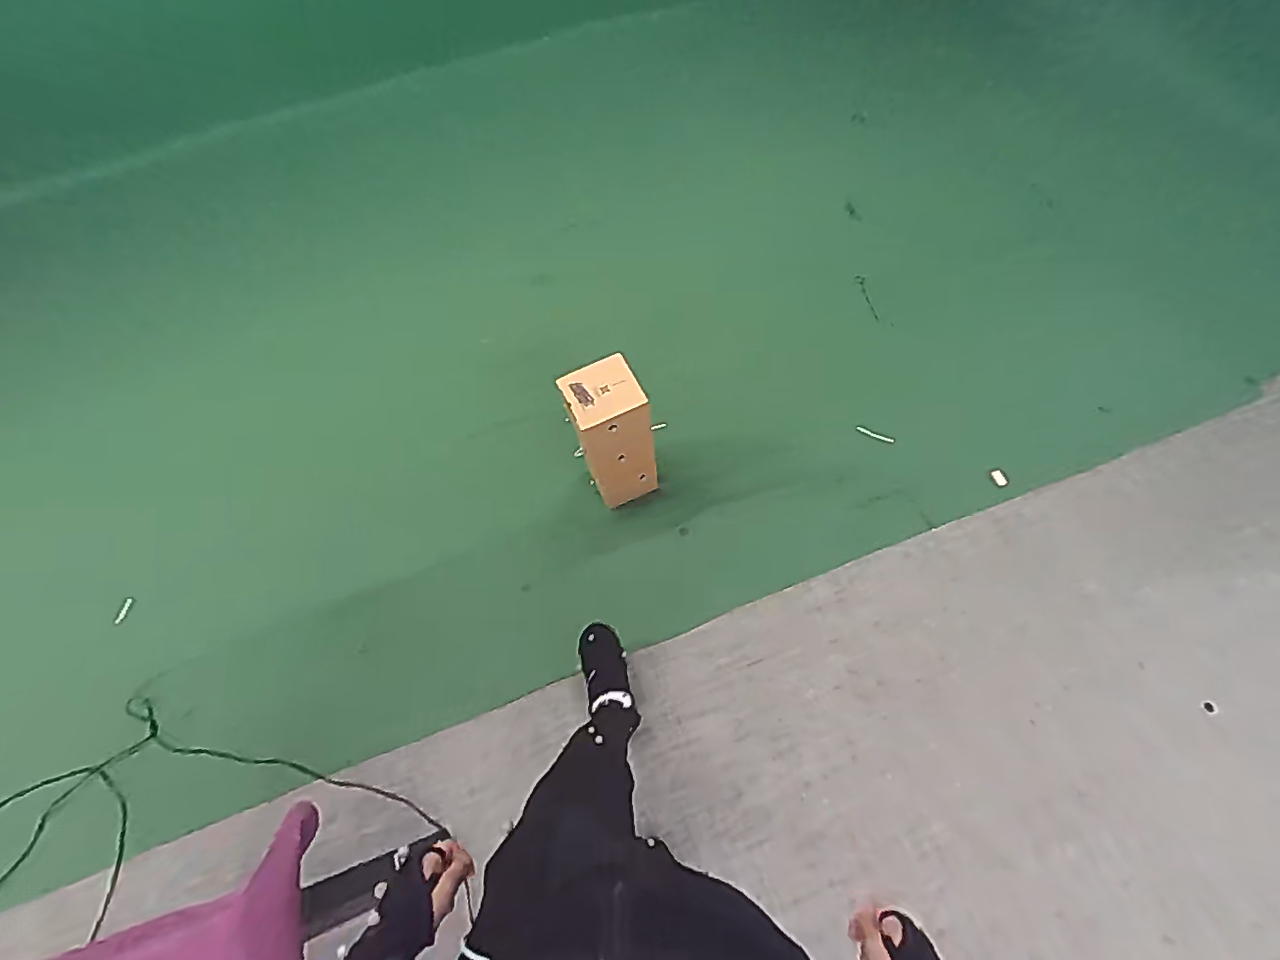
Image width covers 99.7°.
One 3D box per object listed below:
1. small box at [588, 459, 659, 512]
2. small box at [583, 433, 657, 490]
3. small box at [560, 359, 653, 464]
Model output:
[{"bbox_3d":[-0.051,-0.027,1.656,0.179,0.176,0.168,-24,64,-7],"label":"small box"},{"bbox_3d":[-0.062,-0.098,1.511,0.179,0.176,0.168,-23,65,-6],"label":"small box"},{"bbox_3d":[-0.080,-0.166,1.363,0.179,0.176,0.168,-24,65,-8],"label":"small box"}]
